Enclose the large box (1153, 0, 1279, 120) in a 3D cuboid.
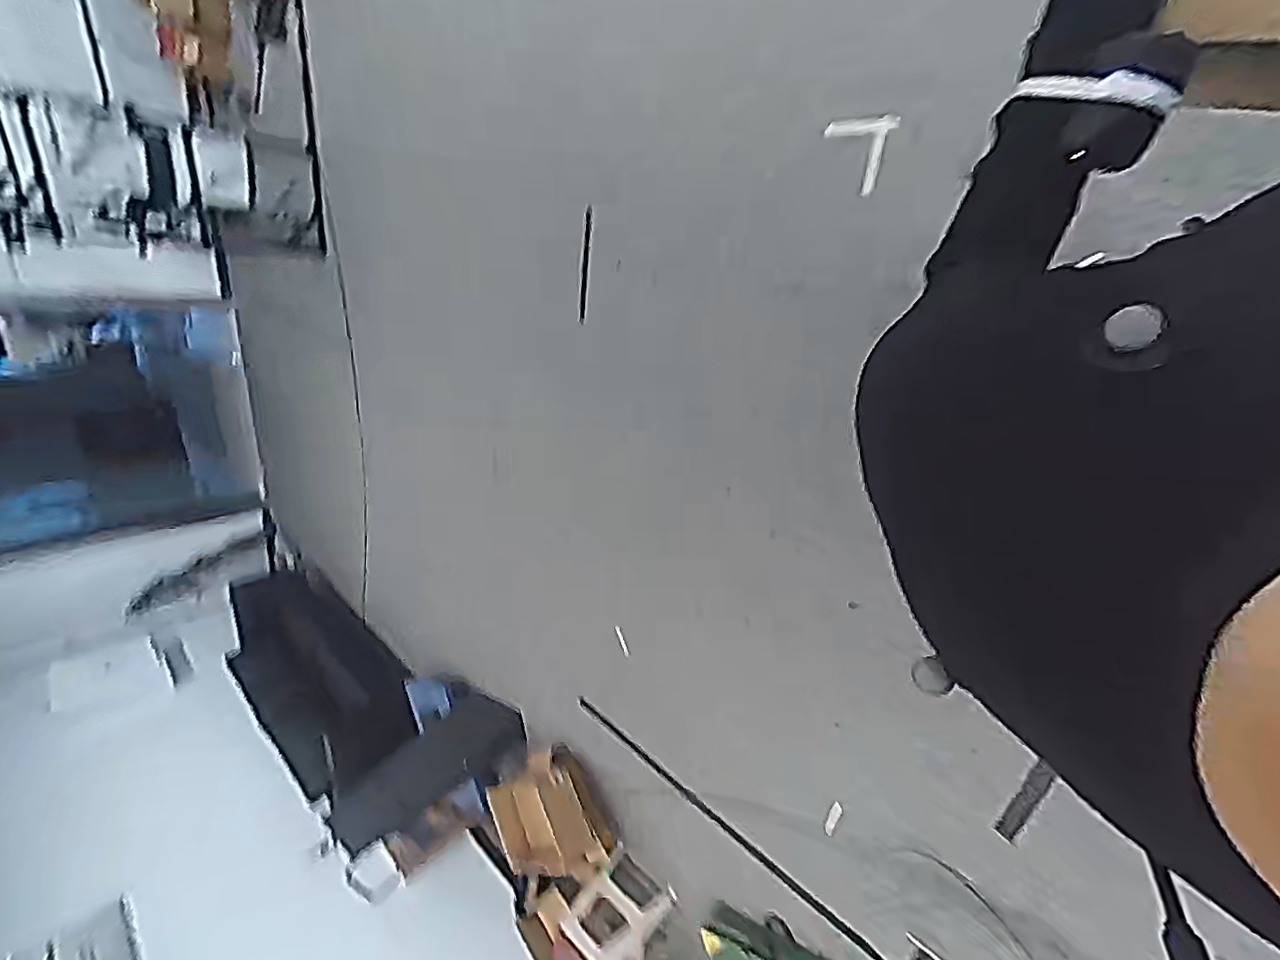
[{"bbox_3d":[0.583,-0.380,0.268,0.408,0.320,0.320,27,127,32],"label":"large box"}]
